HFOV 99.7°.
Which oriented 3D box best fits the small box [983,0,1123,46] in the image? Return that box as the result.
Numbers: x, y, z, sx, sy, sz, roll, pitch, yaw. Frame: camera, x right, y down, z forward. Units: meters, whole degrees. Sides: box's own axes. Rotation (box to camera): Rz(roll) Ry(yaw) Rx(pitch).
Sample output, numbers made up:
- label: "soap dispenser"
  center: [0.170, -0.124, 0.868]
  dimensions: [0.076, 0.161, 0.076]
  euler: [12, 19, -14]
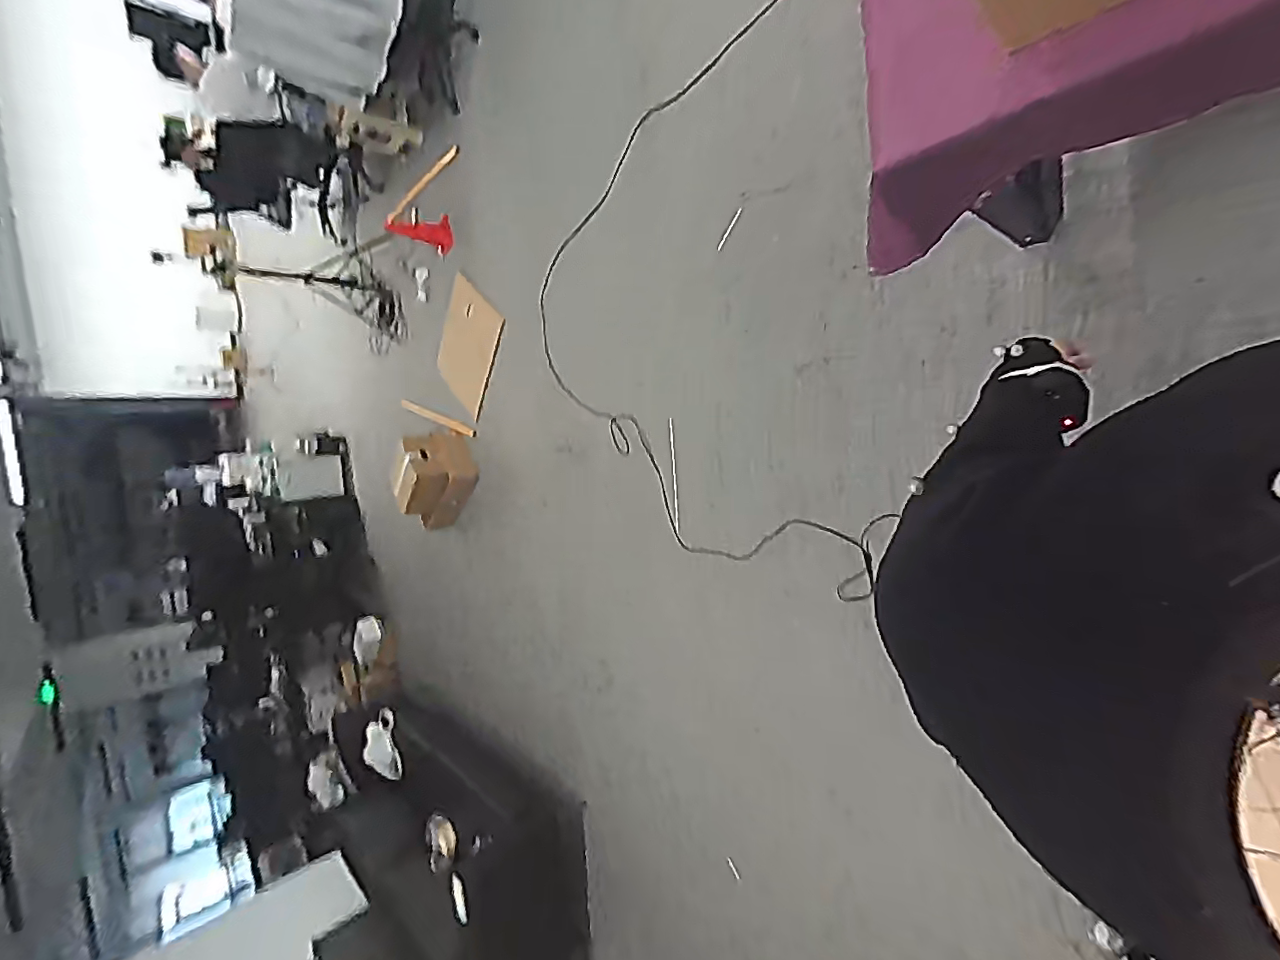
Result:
- label: "small box"
  center: [0.435, -0.579, 0.525]
  dimensions: [0.179, 0.176, 0.168]
  euler: [4, 99, 47]
